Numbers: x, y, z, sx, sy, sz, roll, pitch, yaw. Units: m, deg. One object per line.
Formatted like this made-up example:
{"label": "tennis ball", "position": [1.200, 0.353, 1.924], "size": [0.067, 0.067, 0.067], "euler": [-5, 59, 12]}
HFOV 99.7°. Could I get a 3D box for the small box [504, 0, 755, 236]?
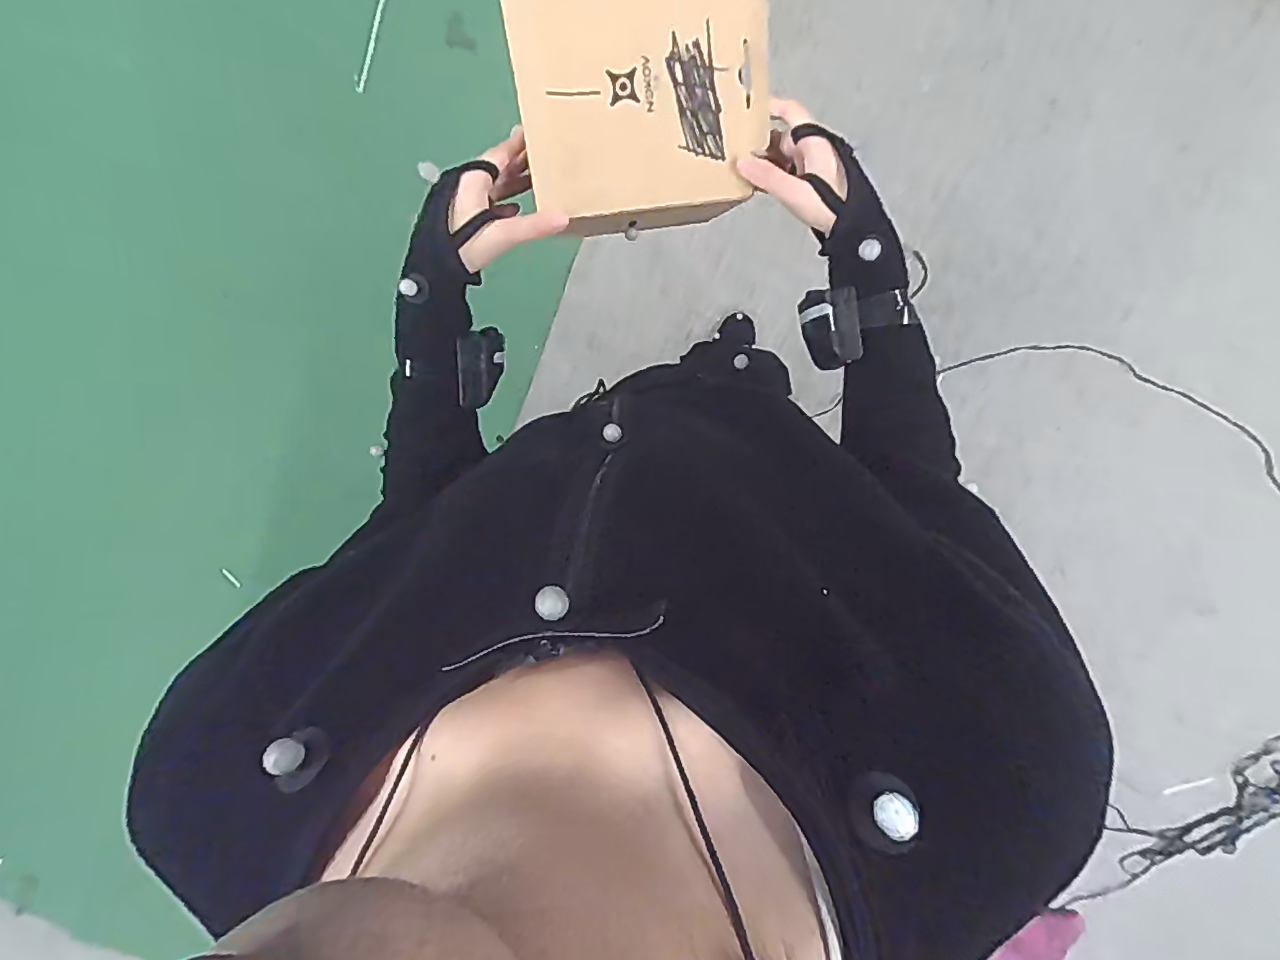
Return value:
{"label": "small box", "position": [-0.012, -0.317, 0.471], "size": [0.179, 0.176, 0.168], "euler": [-8, 109, -3]}
